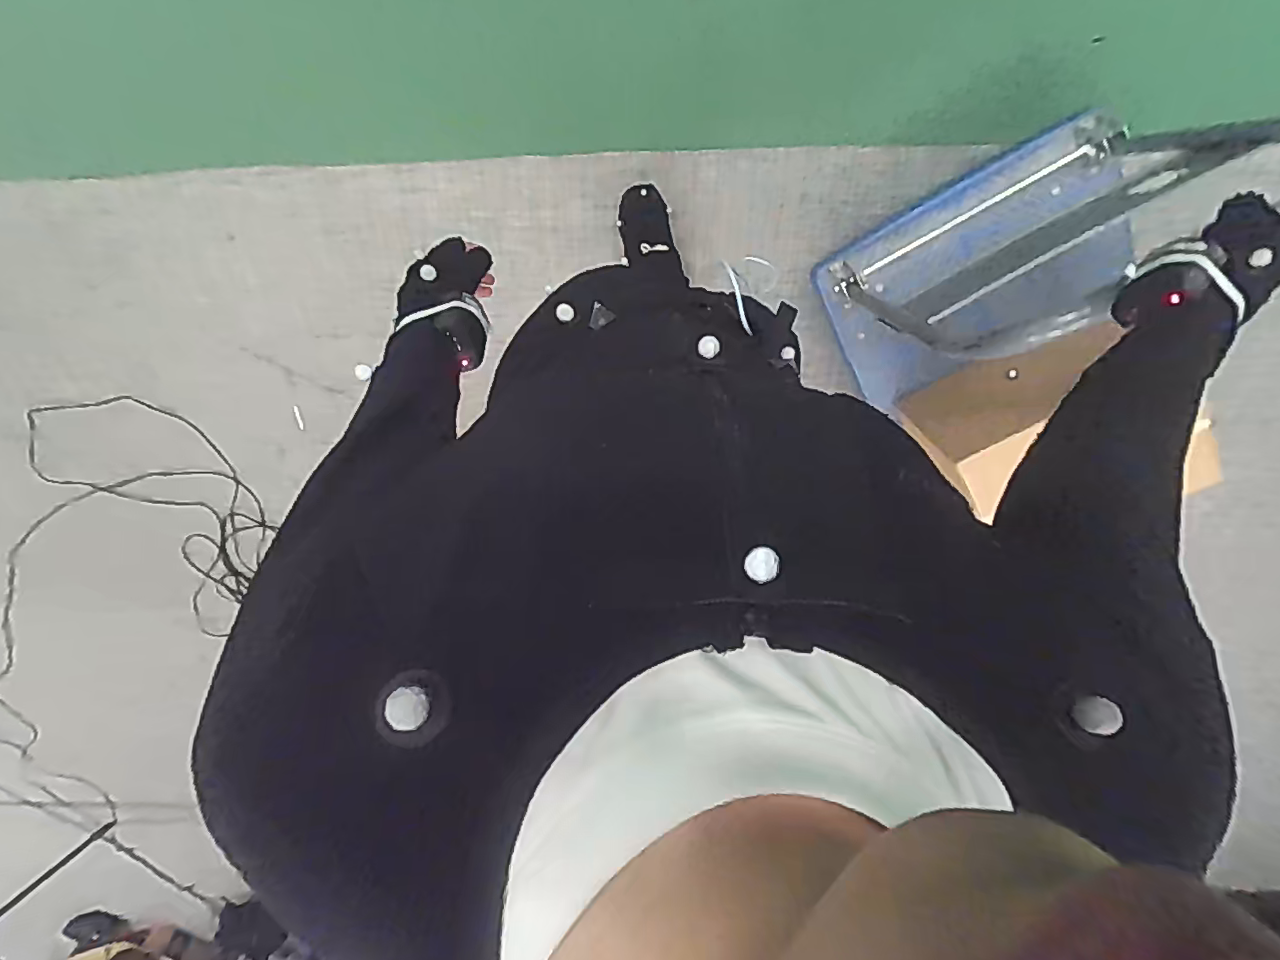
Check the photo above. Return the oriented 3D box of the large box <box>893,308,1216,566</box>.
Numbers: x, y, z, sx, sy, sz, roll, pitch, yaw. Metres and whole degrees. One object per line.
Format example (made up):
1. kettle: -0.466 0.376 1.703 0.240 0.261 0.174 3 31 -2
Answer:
1. large box: 0.837 -0.097 1.145 0.408 0.320 0.320 -31 115 17
